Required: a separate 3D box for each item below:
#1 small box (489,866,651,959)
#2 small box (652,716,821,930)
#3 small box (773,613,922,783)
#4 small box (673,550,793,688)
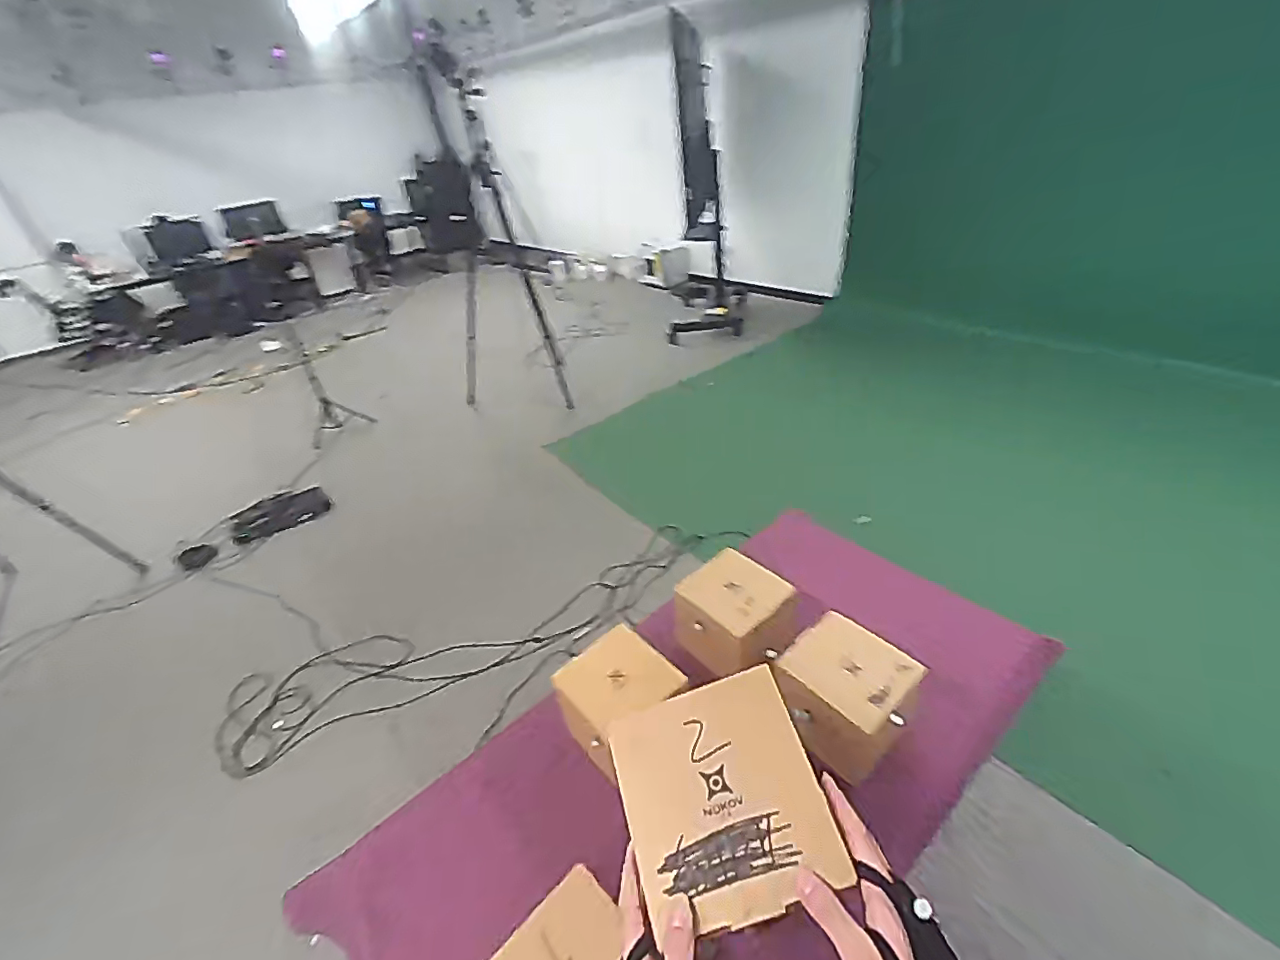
[{"bbox_3d":[-0.068,0.631,0.650,0.168,0.176,0.179,-33,39,-31],"label":"small box"},{"bbox_3d":[0.141,0.500,0.795,0.168,0.176,0.179,-32,41,-28],"label":"small box"},{"bbox_3d":[0.347,0.371,0.928,0.168,0.176,0.179,-31,39,-27],"label":"small box"},{"bbox_3d":[0.187,0.280,1.094,0.168,0.176,0.179,-31,41,-27],"label":"small box"}]
